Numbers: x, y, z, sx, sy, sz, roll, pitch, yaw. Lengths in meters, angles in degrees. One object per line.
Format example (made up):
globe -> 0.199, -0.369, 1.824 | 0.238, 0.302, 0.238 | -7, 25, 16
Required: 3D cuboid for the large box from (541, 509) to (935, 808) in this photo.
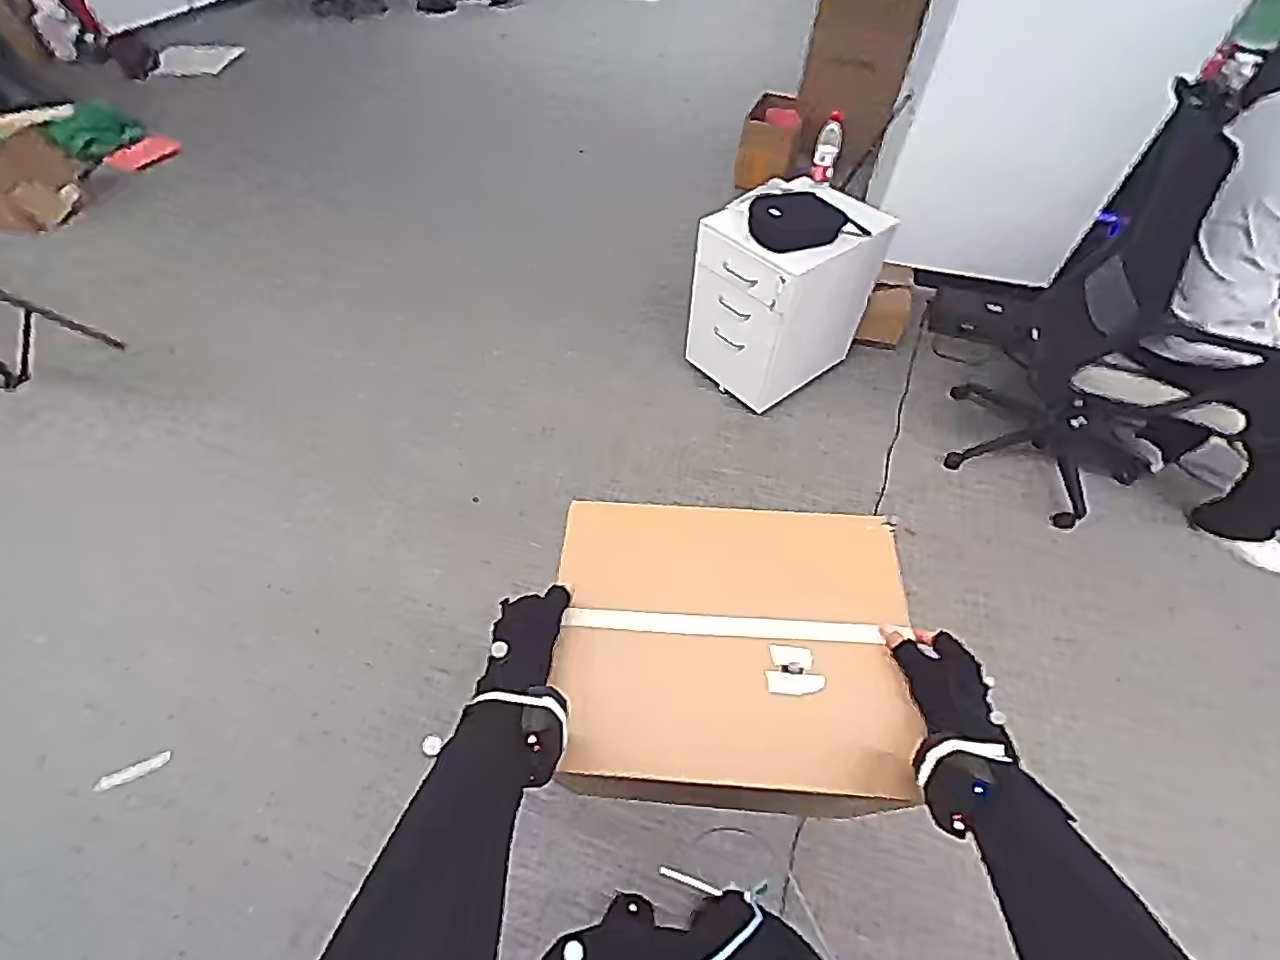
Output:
large box -> 0.104, 0.254, 0.745 | 0.408, 0.320, 0.320 | 3, 57, 3
